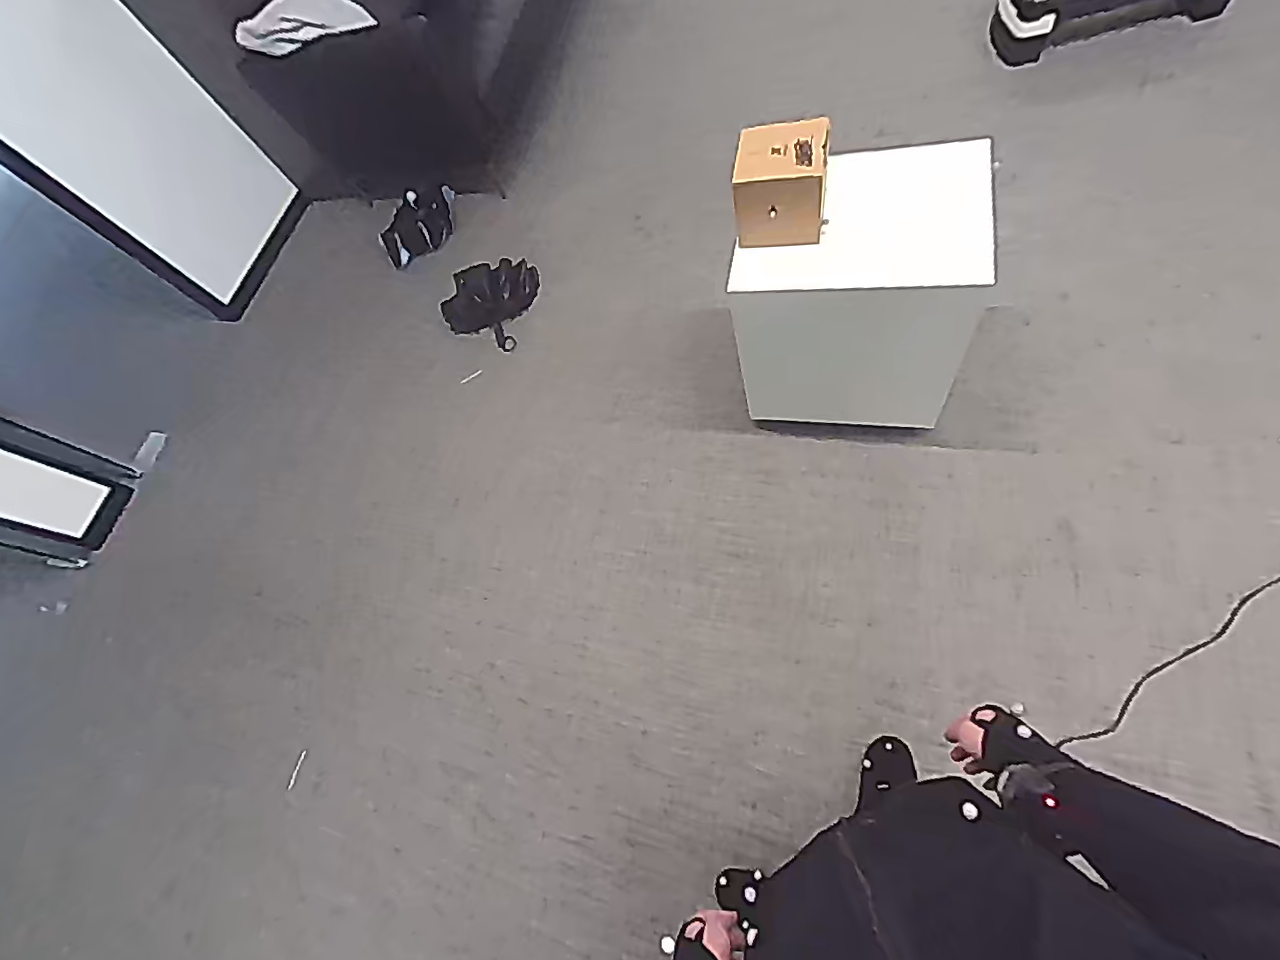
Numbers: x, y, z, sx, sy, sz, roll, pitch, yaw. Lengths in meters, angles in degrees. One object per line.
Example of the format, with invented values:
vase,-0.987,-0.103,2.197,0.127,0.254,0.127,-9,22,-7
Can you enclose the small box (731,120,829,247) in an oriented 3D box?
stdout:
small box,0.299,-0.618,1.144,0.179,0.176,0.168,5,67,19
